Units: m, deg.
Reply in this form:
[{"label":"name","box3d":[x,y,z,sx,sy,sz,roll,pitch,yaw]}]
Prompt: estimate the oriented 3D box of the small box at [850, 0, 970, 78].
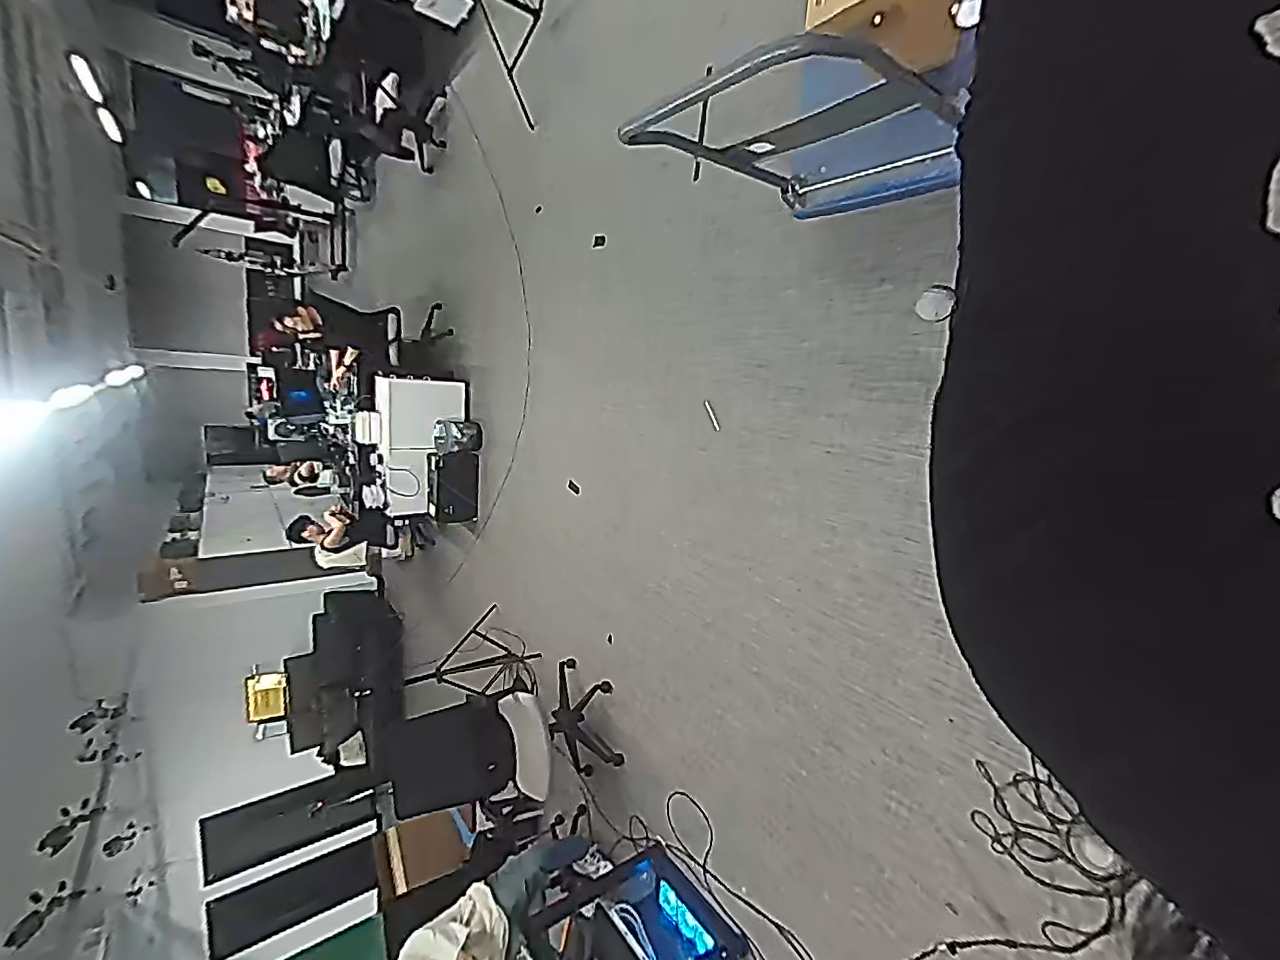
[{"label":"small box","box3d":[0.610,-1.048,1.217,0.179,0.176,0.168,22,111,49]}]
